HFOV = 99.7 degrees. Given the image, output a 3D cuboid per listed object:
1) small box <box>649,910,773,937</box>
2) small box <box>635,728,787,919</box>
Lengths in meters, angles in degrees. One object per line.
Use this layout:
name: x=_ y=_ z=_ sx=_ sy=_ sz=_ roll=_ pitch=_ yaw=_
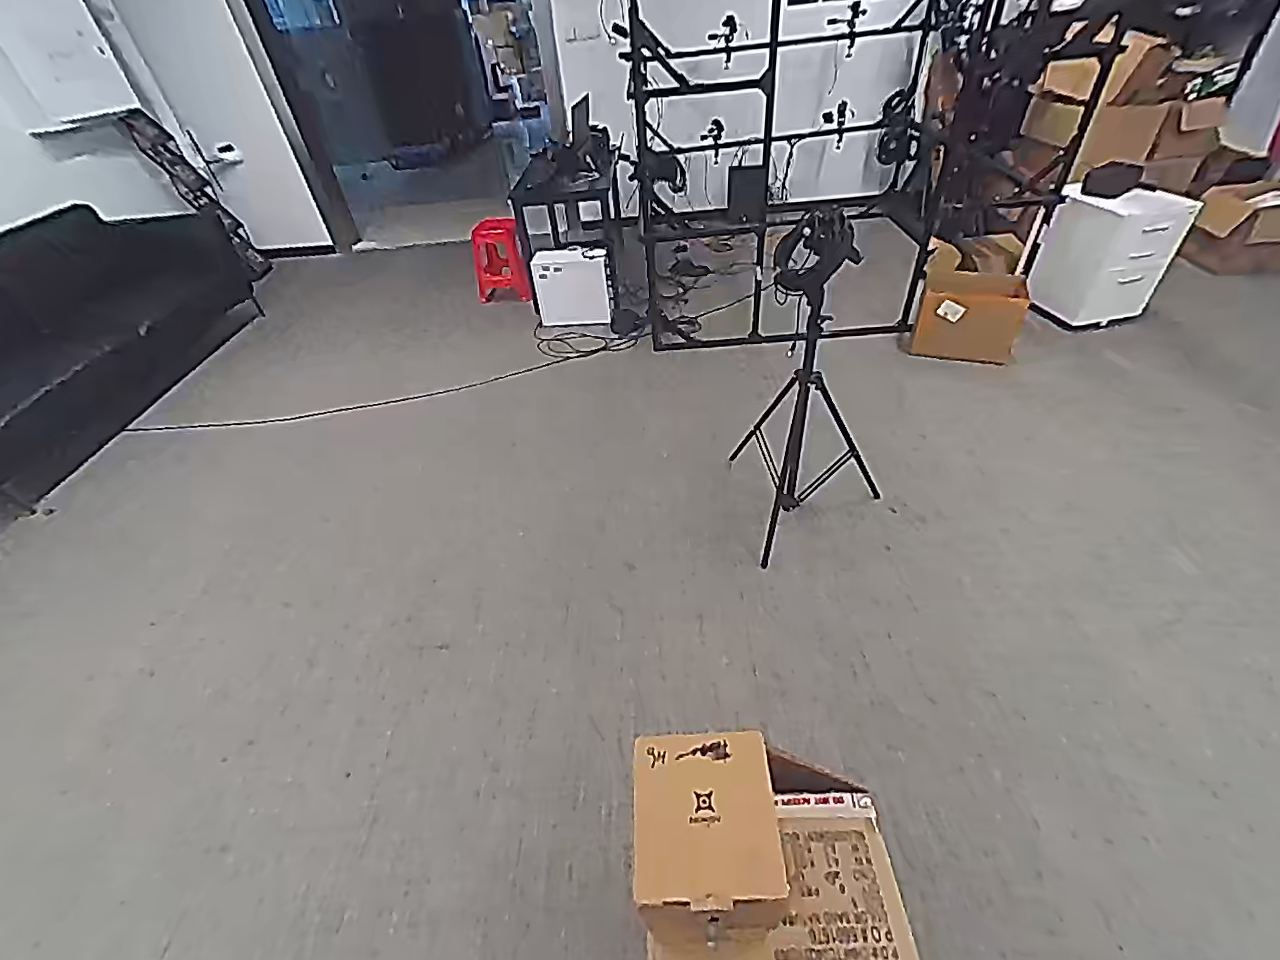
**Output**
small box: x=0.098 y=0.553 z=0.805 sx=0.168 sy=0.176 sz=0.179 roll=-6 pitch=43 yaw=3
small box: x=0.085 y=0.439 z=0.687 sx=0.168 sy=0.176 sz=0.179 roll=-5 pitch=44 yaw=4
